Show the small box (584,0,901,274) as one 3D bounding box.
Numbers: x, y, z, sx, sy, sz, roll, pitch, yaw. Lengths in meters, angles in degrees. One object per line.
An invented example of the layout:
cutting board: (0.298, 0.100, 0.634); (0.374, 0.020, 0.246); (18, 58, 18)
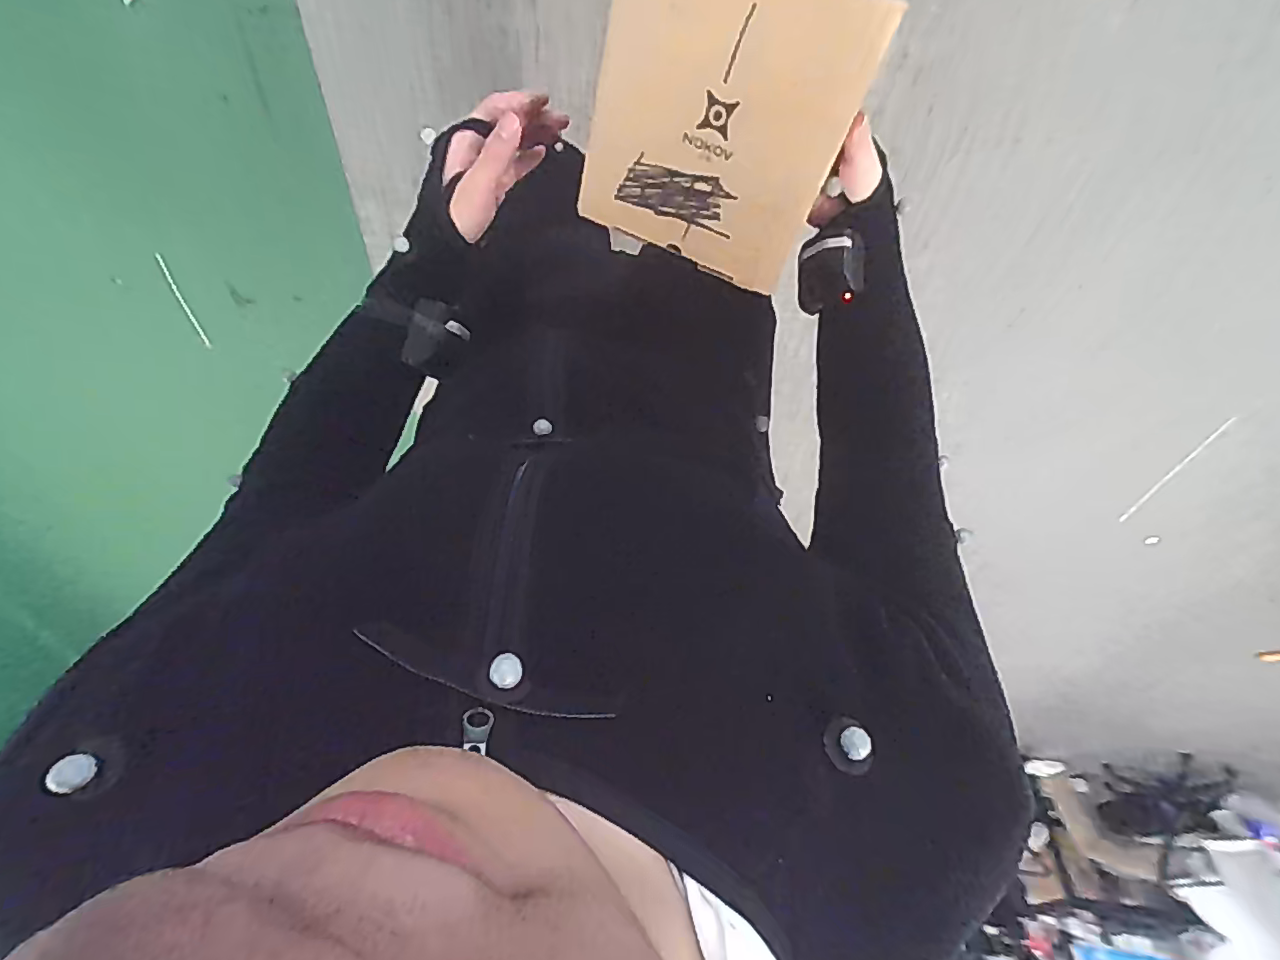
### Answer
small box: (0.077, -0.295, 0.409); (0.168, 0.176, 0.179); (24, 135, 4)
